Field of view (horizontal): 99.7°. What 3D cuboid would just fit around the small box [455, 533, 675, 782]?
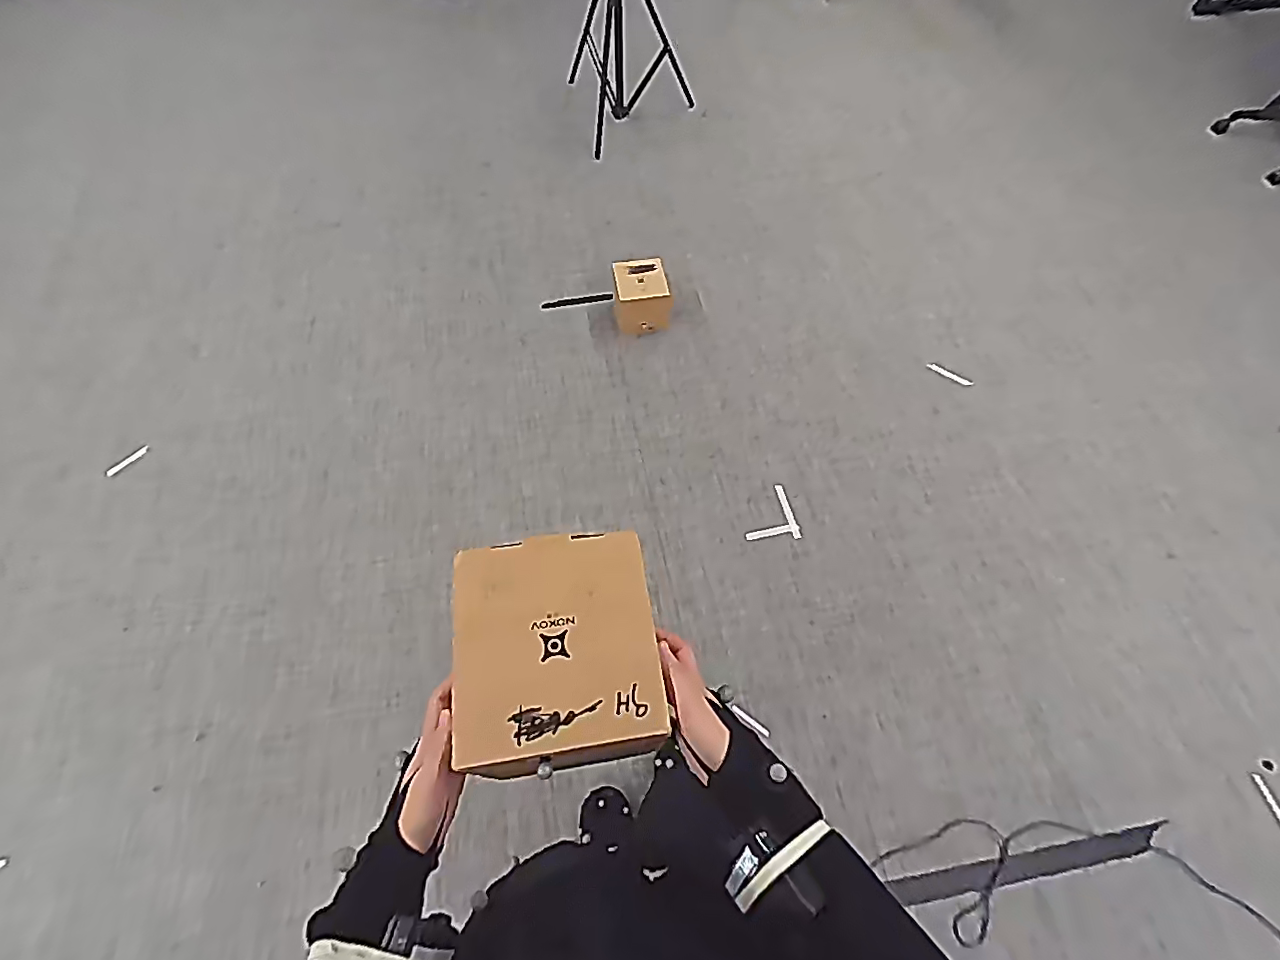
[{"bbox_3d":[-0.070,0.171,0.511,0.168,0.176,0.179,-6,59,-7],"label":"small box"}]
